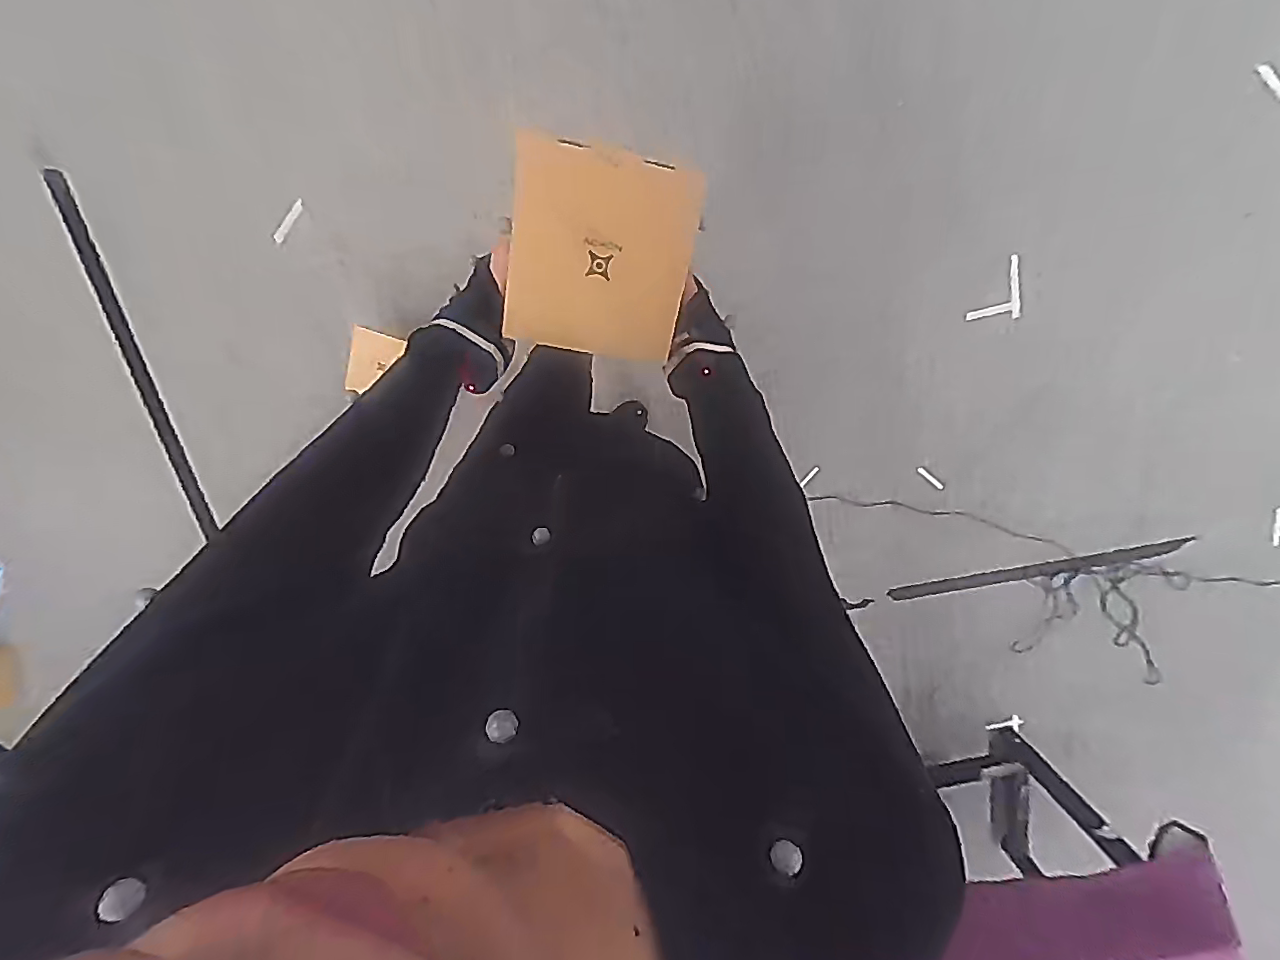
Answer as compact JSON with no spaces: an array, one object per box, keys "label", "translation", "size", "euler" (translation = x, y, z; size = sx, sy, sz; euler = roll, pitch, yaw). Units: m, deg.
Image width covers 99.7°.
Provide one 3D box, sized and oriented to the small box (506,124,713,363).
[{"label":"small box","translation":[-0.038,-0.242,0.563],"size":[0.168,0.176,0.179],"euler":[8,117,-9]}]
